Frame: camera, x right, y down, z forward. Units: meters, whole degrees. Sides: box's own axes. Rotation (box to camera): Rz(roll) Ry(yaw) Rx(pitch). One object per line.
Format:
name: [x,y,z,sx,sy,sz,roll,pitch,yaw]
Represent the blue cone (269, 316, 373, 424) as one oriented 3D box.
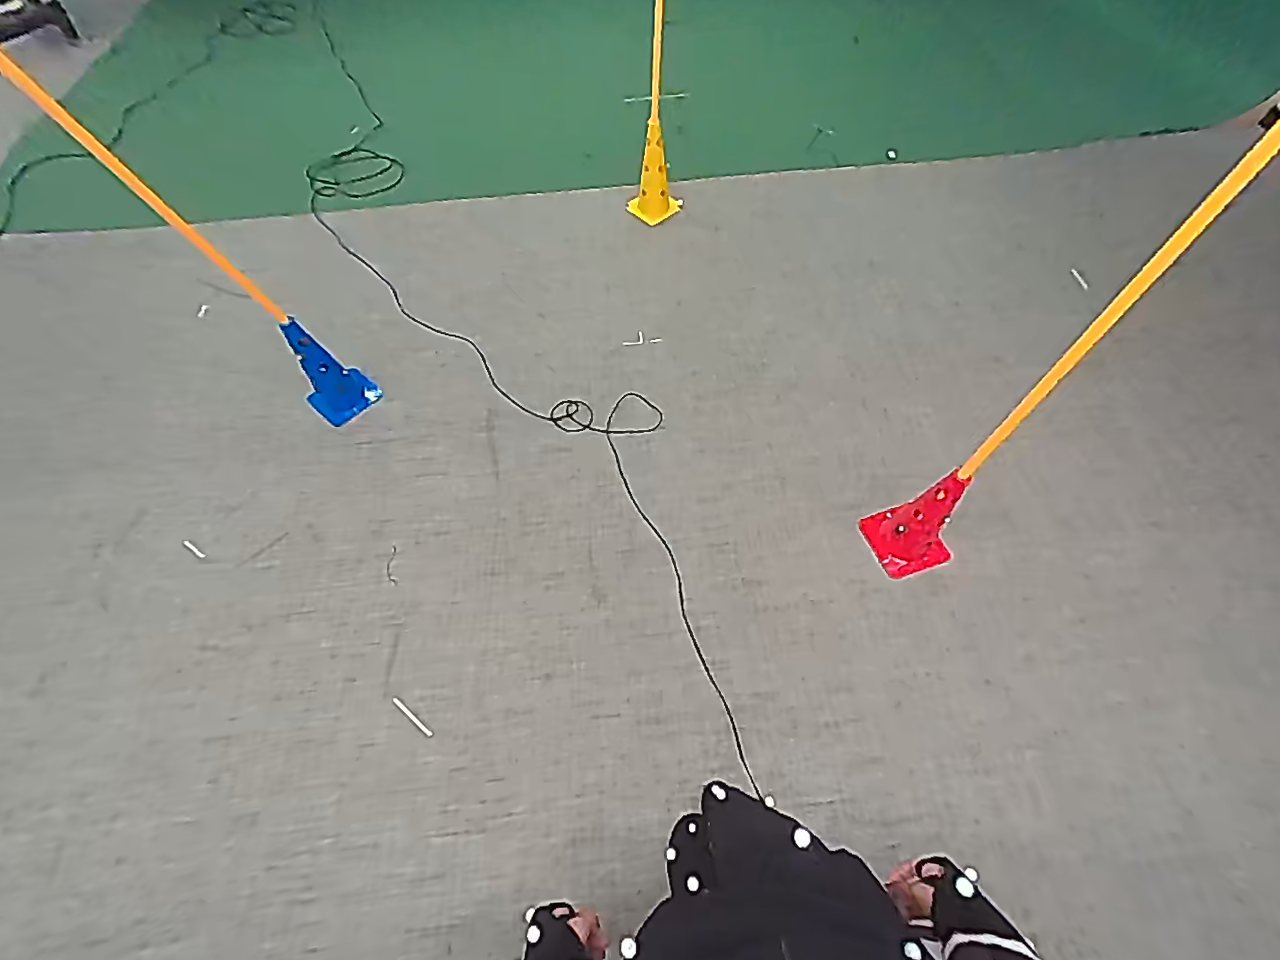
blue cone: [-1.043,-0.368,1.721,0.192,0.380,0.193,35,69,19]
